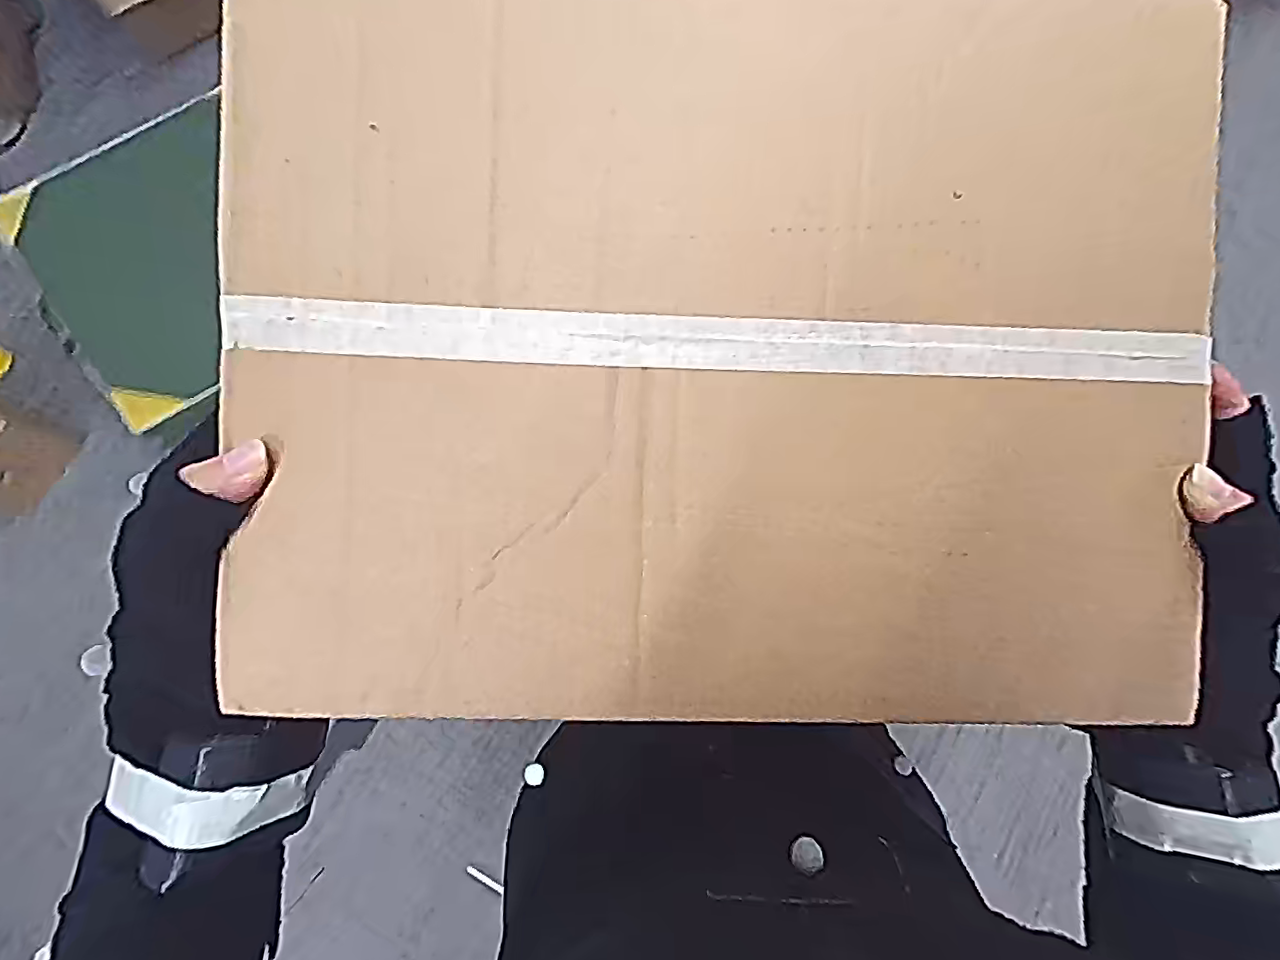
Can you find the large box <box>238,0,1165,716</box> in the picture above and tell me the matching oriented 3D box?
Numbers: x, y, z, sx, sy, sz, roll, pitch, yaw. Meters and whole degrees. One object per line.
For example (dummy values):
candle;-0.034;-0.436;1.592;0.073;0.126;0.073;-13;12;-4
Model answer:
large box;0.028;-0.058;0.383;0.408;0.320;0.320;0;90;-3
